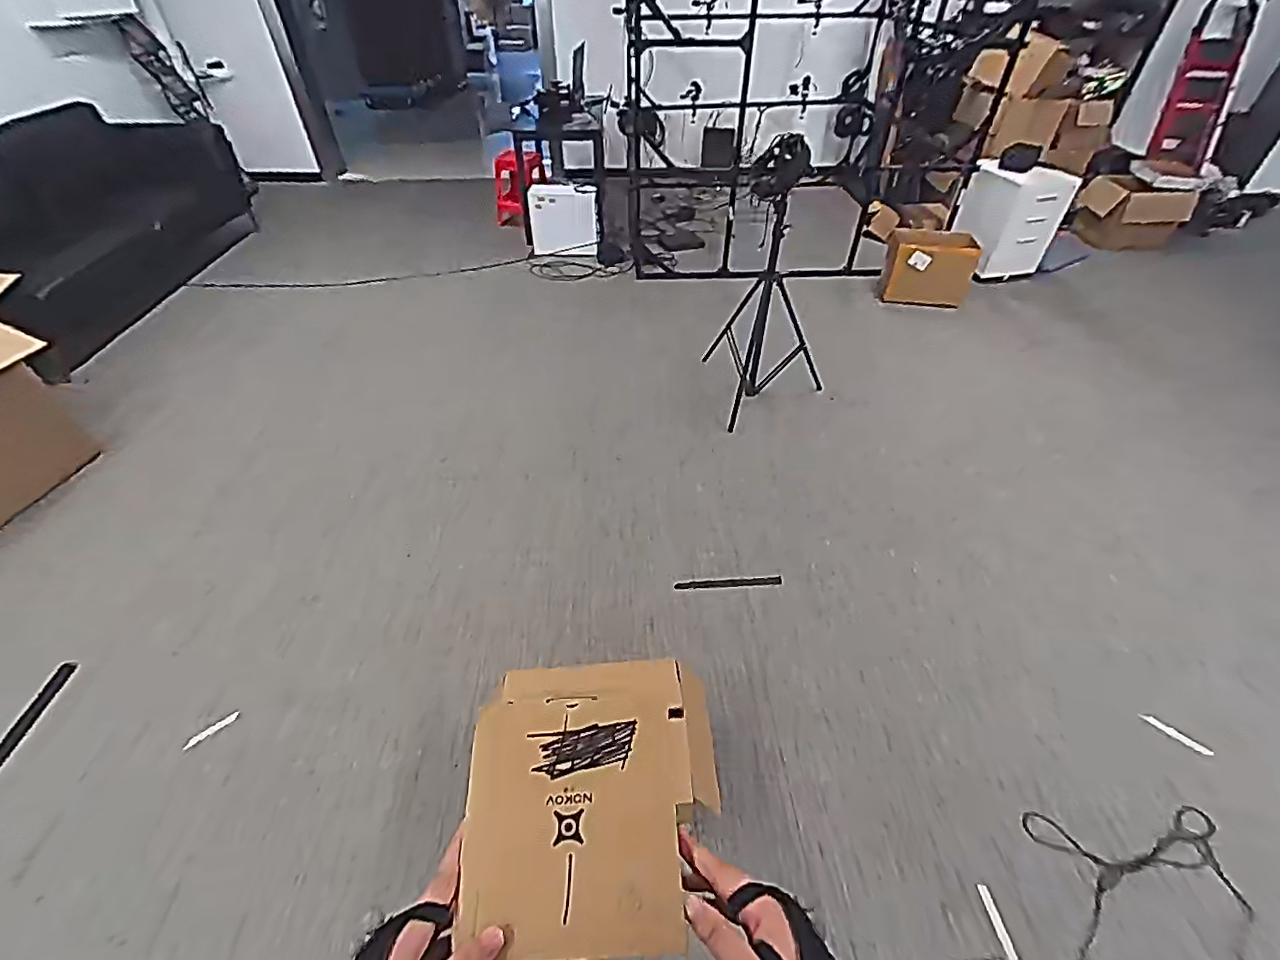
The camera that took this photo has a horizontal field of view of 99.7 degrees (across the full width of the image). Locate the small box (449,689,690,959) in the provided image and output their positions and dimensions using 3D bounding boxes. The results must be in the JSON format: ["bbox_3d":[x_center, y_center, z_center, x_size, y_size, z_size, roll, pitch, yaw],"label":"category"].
[{"bbox_3d":[-0.050,0.303,0.477,0.168,0.176,0.179,-4,51,-1],"label":"small box"}]
